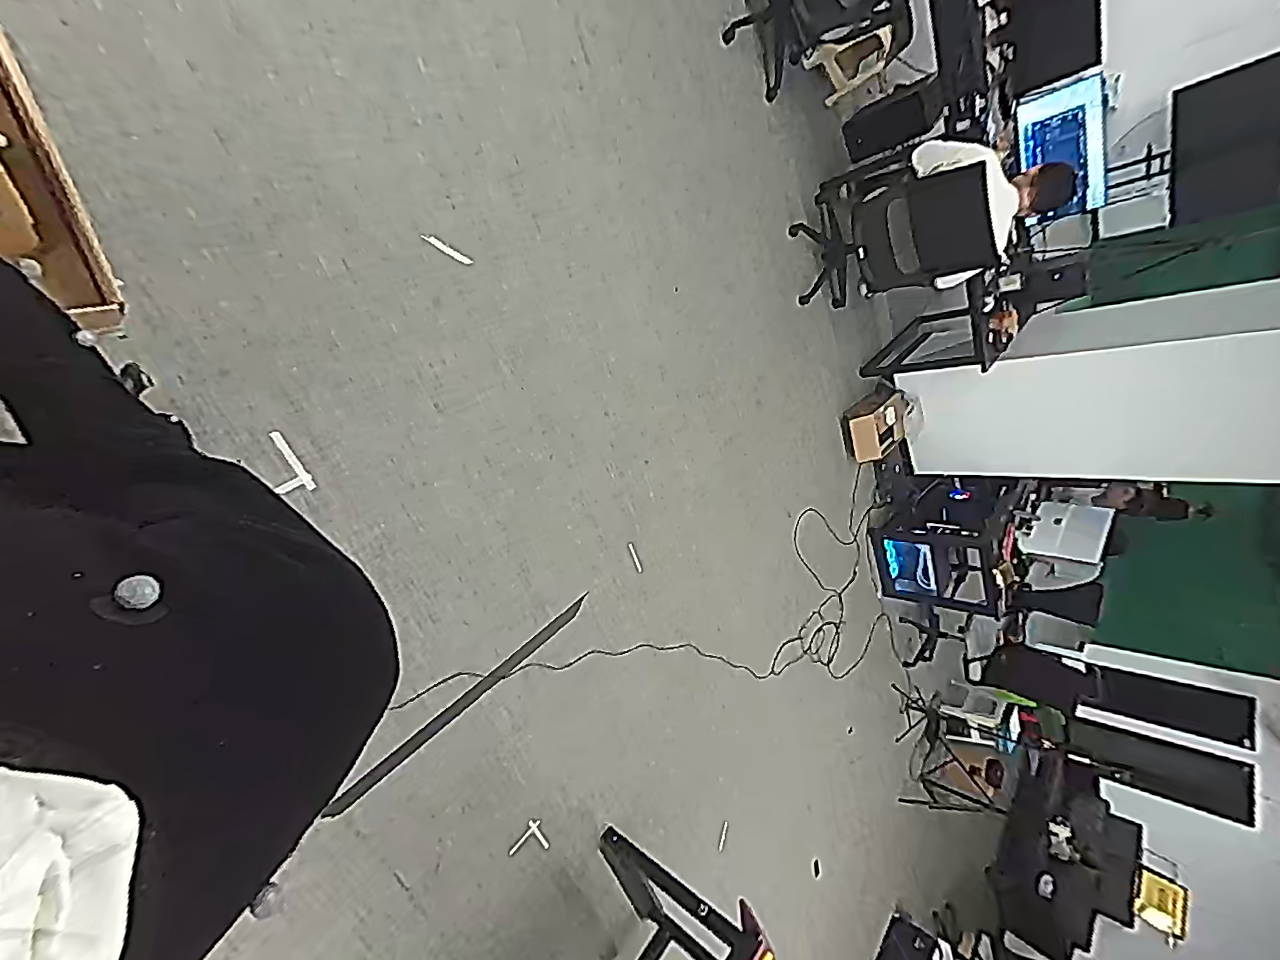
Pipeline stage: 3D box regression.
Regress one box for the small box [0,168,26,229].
[{"bbox_3d":[-0.838,-0.374,0.583,0.179,0.176,0.168,-30,110,-37],"label":"small box"}]
